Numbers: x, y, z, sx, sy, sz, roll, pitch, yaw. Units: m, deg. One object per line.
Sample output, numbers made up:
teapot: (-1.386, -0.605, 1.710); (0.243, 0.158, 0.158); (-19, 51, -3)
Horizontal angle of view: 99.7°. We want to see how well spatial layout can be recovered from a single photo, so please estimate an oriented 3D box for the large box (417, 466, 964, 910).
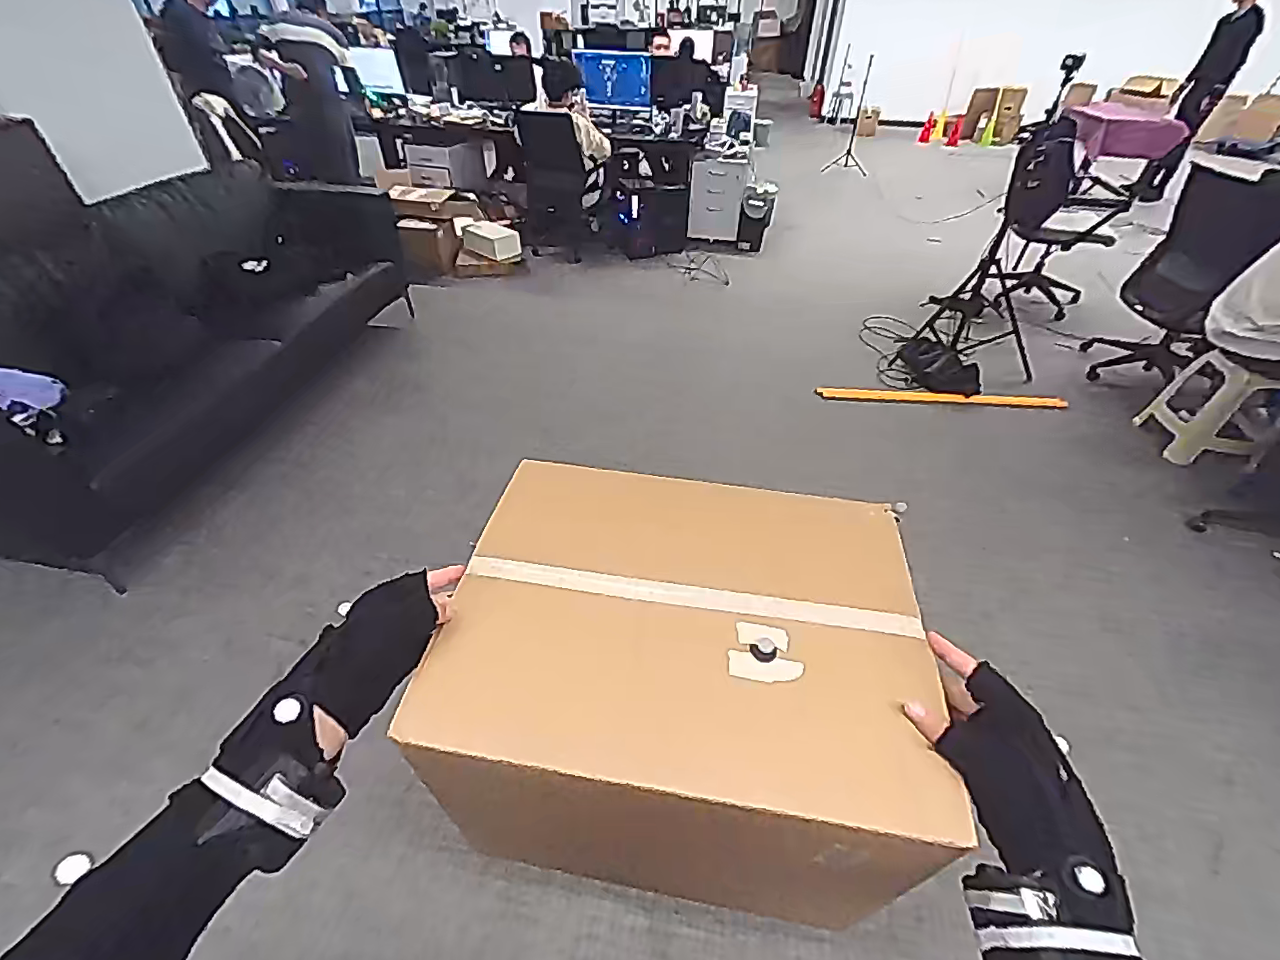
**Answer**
large box: (0.043, 0.218, 0.592); (0.408, 0.320, 0.320); (8, 44, 5)
